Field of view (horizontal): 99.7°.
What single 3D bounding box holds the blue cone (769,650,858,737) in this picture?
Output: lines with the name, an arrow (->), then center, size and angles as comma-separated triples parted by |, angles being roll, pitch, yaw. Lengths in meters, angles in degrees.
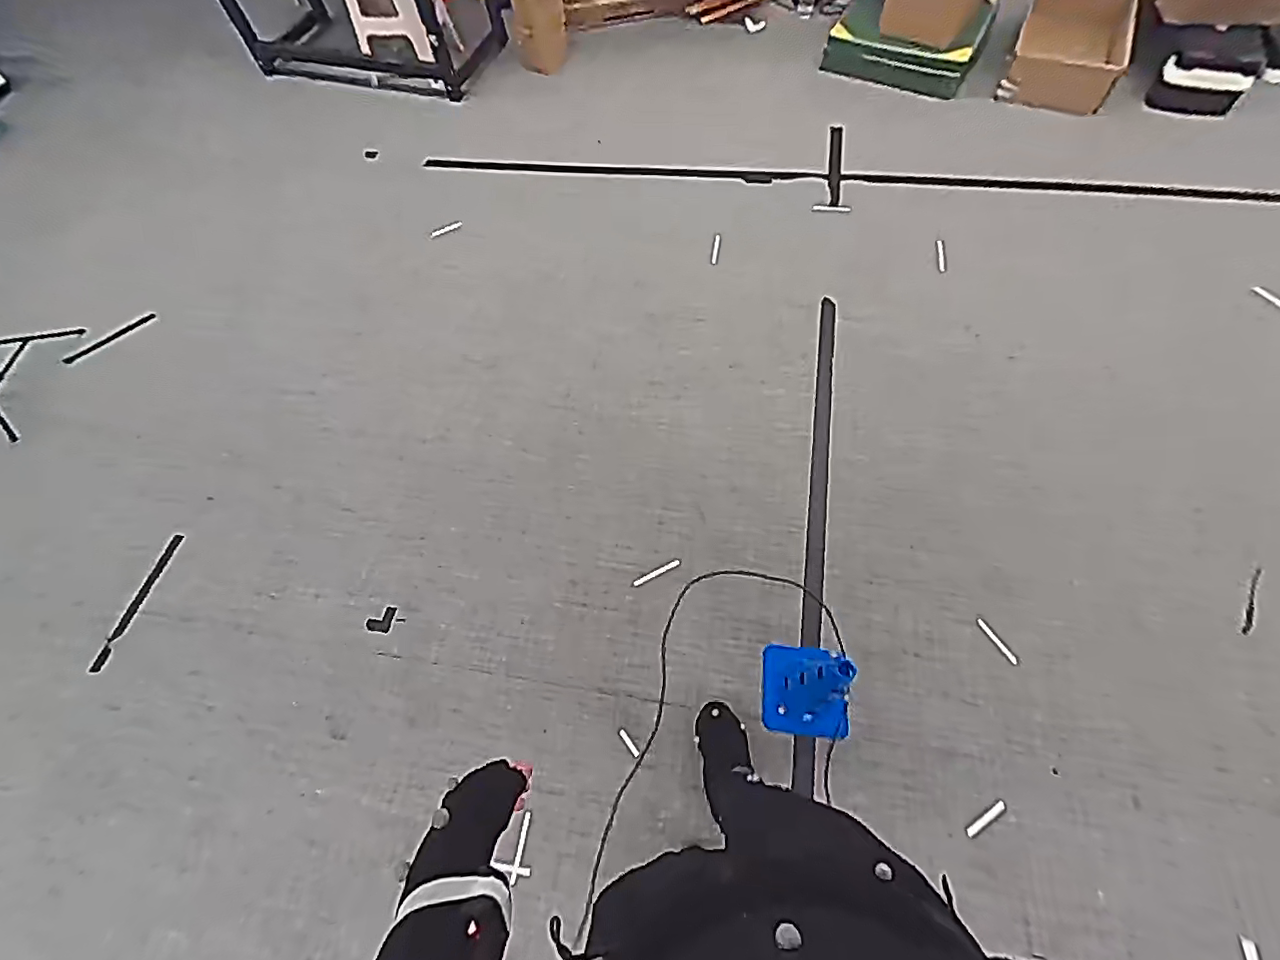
blue cone -> 0.395, 0.431, 1.134 | 0.192, 0.380, 0.193 | 3, 64, 5
